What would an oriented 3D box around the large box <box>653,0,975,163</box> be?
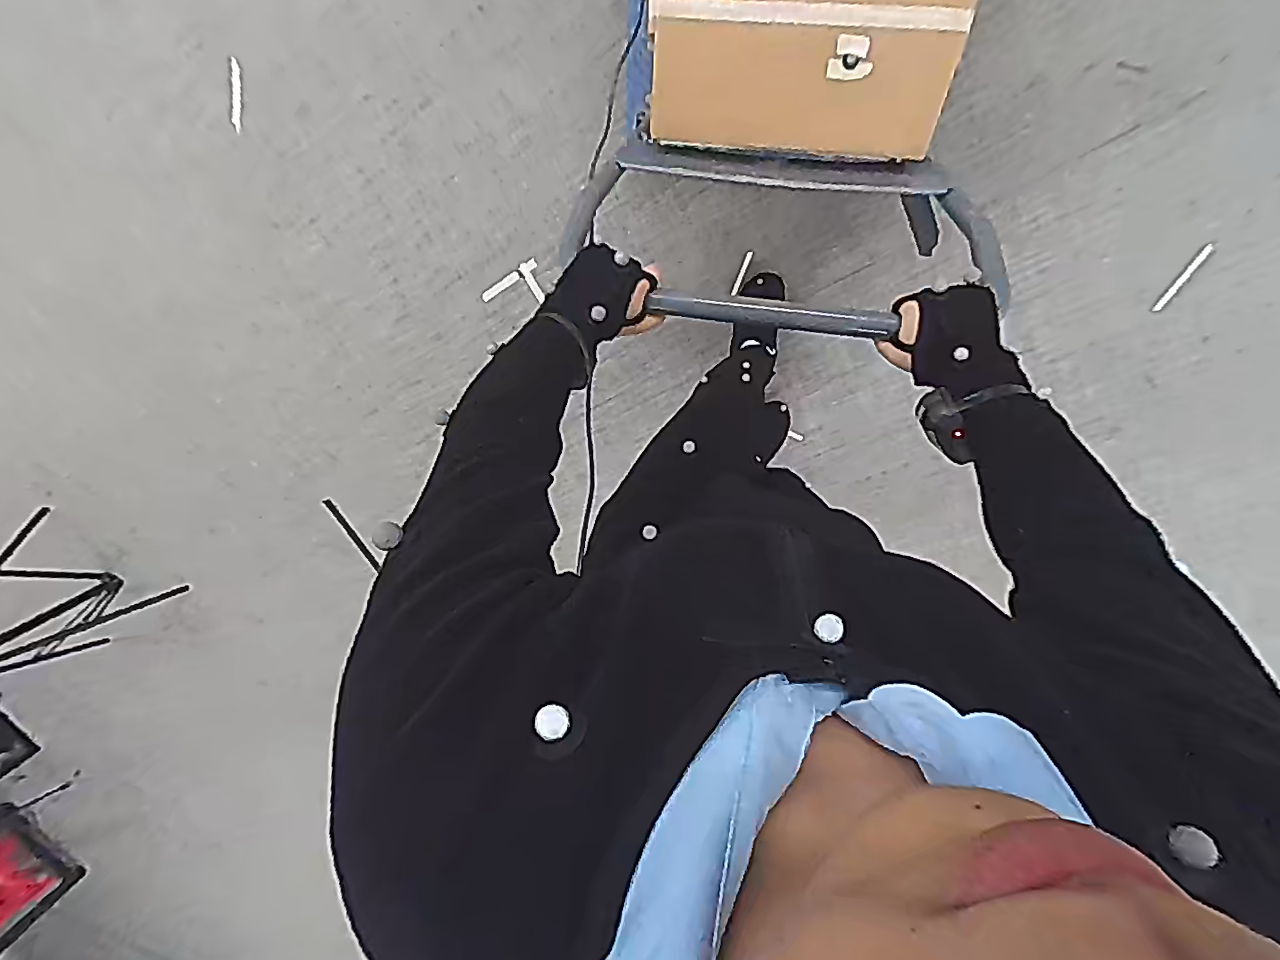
[{"bbox_3d":[0.241,-0.694,0.818,0.408,0.320,0.320,8,131,5],"label":"large box"}]
